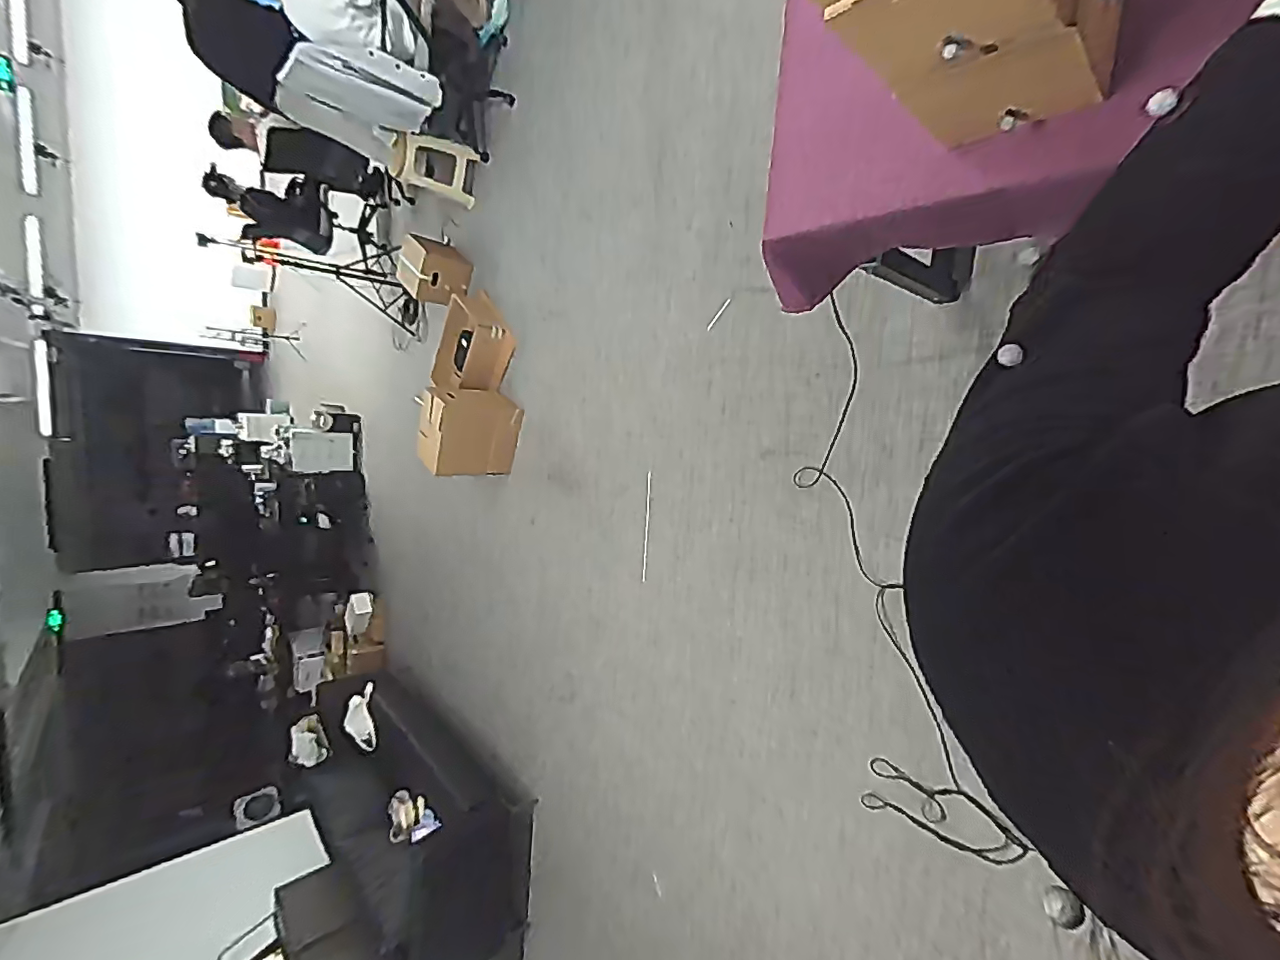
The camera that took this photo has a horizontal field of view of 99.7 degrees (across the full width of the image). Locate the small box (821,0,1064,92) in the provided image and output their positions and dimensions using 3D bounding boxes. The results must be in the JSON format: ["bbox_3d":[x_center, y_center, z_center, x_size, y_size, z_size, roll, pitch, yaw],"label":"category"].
[{"bbox_3d":[0.300,-0.526,0.517,0.168,0.176,0.179,13,101,47],"label":"small box"}]

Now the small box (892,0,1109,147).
[{"bbox_3d":[0.423,-0.526,0.629,0.179,0.176,0.168,10,99,46],"label":"small box"}]
